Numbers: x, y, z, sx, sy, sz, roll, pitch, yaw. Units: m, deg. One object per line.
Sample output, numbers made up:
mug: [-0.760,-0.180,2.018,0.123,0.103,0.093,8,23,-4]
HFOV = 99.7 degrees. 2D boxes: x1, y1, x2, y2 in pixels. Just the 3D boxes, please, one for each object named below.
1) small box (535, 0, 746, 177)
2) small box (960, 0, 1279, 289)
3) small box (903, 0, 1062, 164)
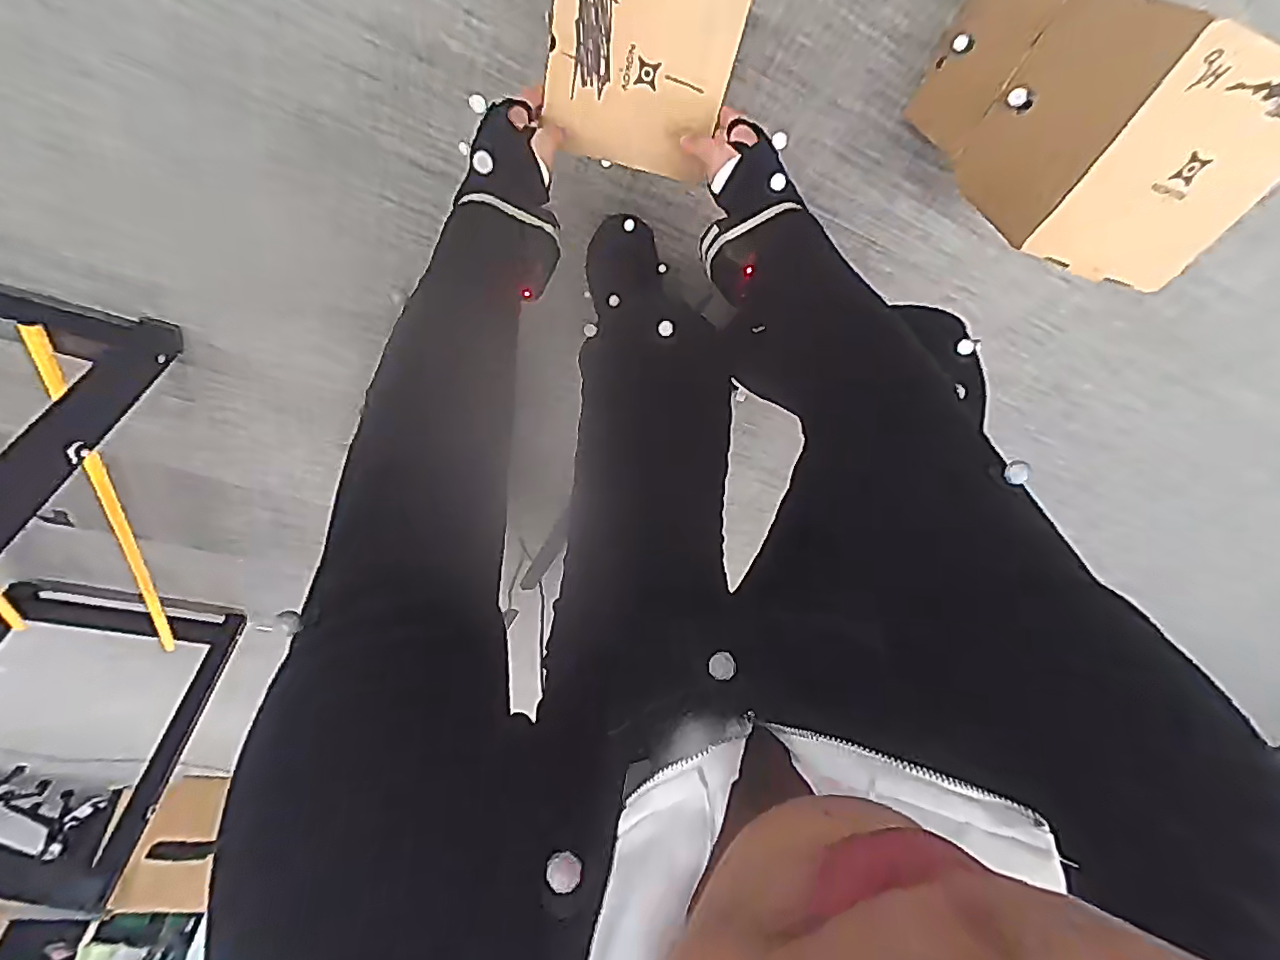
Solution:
small box: [-0.010,-0.442,0.567,0.179,0.176,0.168,6,130,-12]
small box: [0.437,-0.317,0.504,0.168,0.176,0.179,10,139,-14]
small box: [0.439,-0.446,0.605,0.179,0.176,0.168,11,137,-15]
